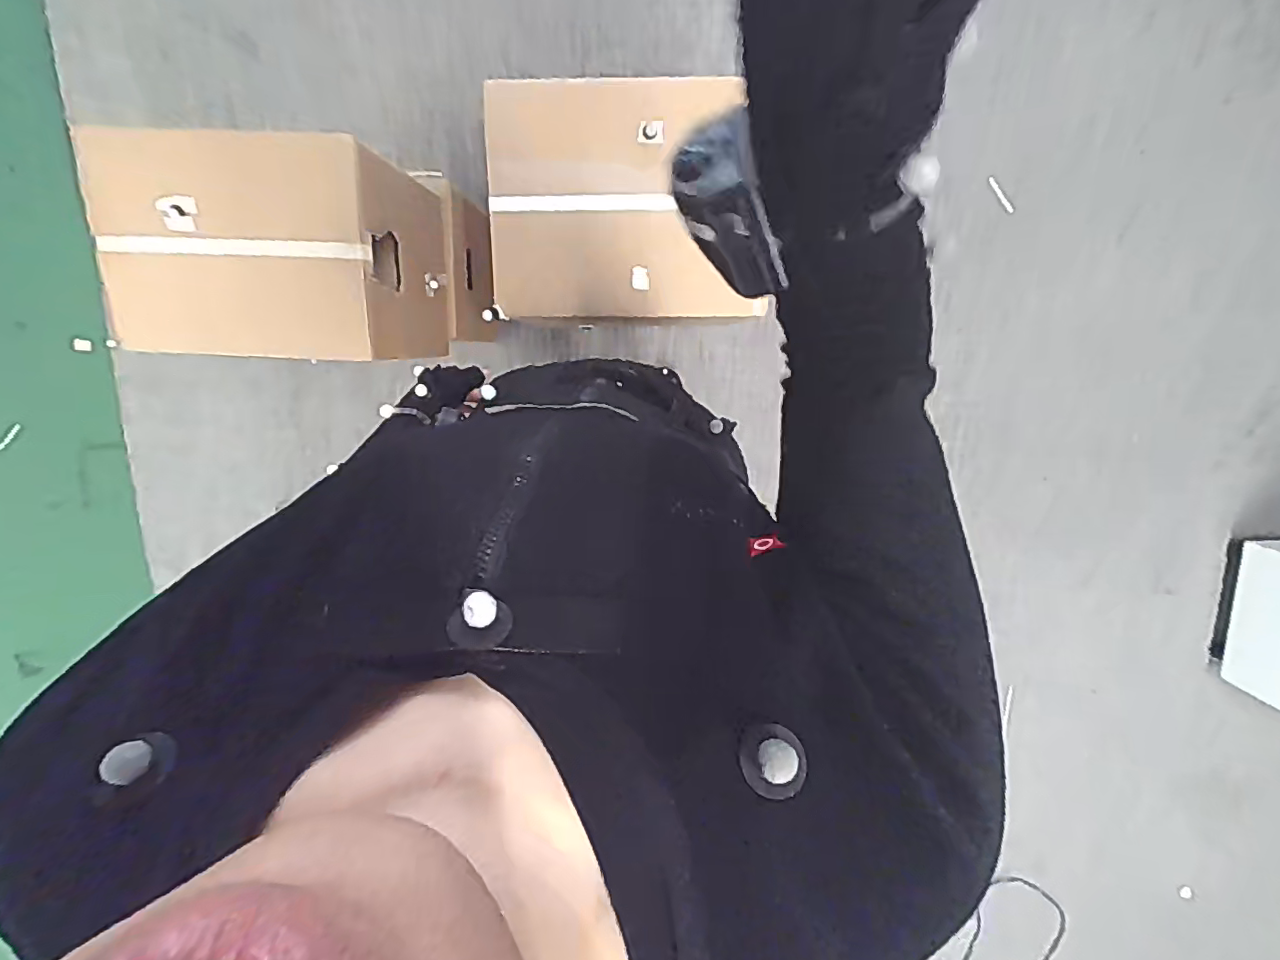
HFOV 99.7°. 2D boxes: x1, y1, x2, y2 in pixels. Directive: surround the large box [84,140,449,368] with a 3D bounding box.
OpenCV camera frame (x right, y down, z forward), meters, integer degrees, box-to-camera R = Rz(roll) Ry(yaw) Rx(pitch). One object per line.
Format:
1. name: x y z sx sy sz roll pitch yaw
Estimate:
1. large box: -0.593 -0.366 0.944 0.408 0.320 0.320 3 104 2
